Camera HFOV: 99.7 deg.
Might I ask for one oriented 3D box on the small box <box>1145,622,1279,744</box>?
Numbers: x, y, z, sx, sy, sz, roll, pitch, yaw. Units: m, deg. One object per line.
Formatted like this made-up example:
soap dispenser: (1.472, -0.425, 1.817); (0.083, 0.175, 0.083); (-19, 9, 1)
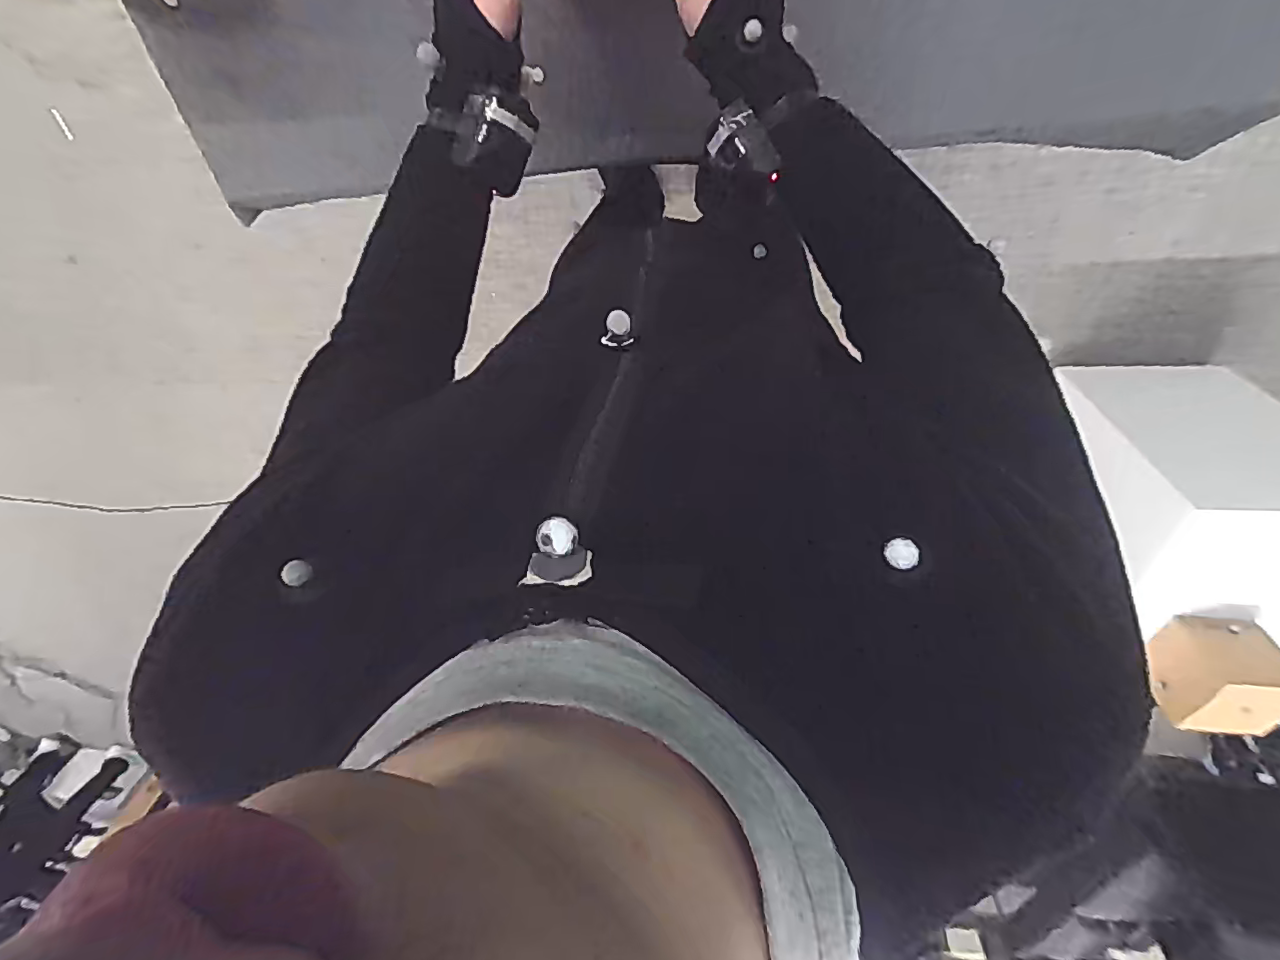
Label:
small box: (1.220, 0.421, 1.126); (0.168, 0.176, 0.179); (1, 127, 7)

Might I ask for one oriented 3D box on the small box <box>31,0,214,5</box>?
small box: (-0.483, -0.525, 0.463); (0.179, 0.176, 0.168); (1, 128, 7)
